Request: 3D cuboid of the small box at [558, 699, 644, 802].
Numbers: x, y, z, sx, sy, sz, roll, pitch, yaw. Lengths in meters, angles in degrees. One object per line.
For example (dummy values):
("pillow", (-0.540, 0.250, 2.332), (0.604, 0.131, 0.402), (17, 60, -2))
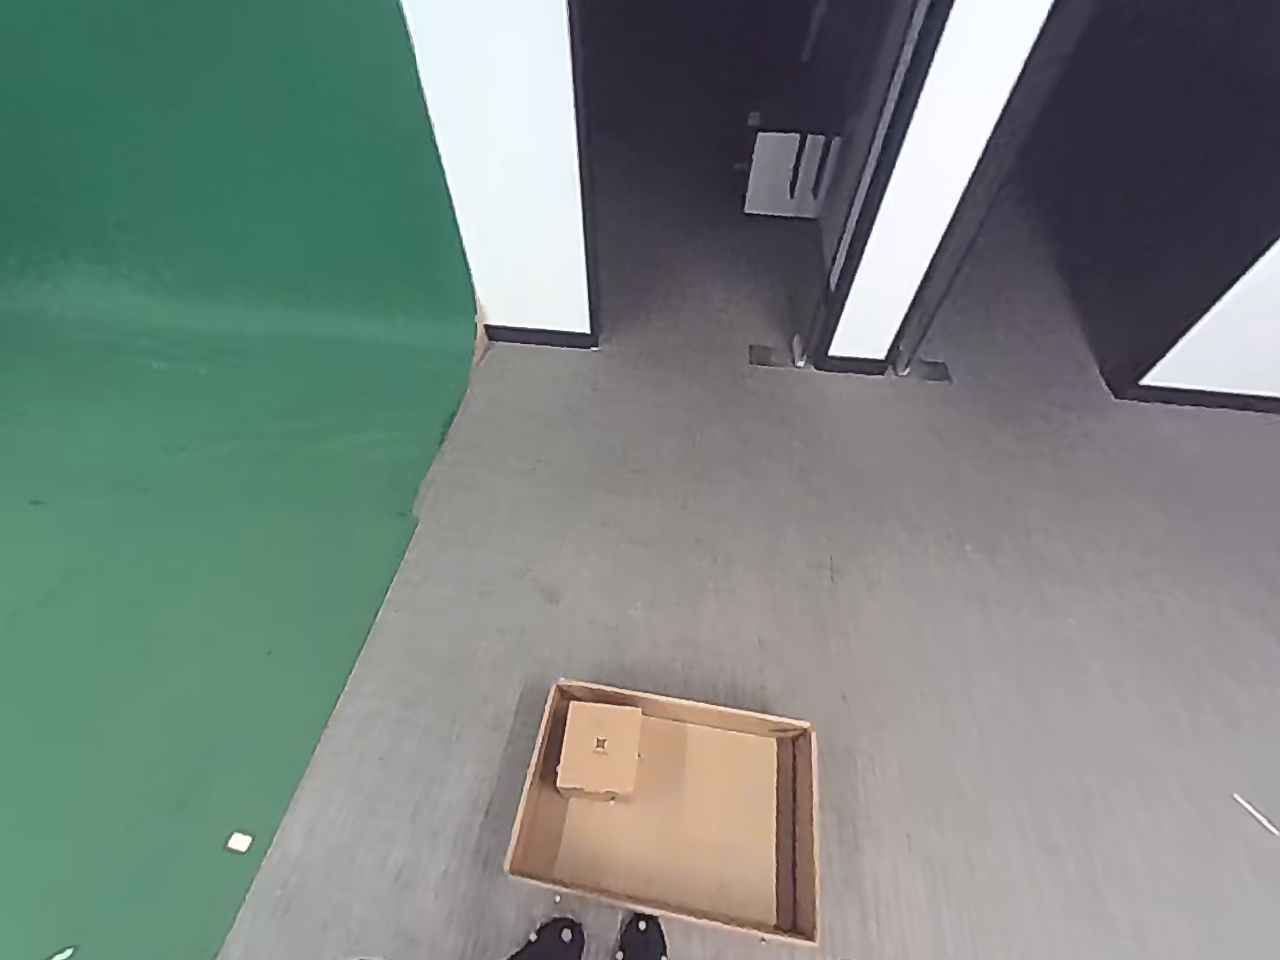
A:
("small box", (-0.080, 0.620, 1.230), (0.168, 0.176, 0.179), (6, 53, 4))
